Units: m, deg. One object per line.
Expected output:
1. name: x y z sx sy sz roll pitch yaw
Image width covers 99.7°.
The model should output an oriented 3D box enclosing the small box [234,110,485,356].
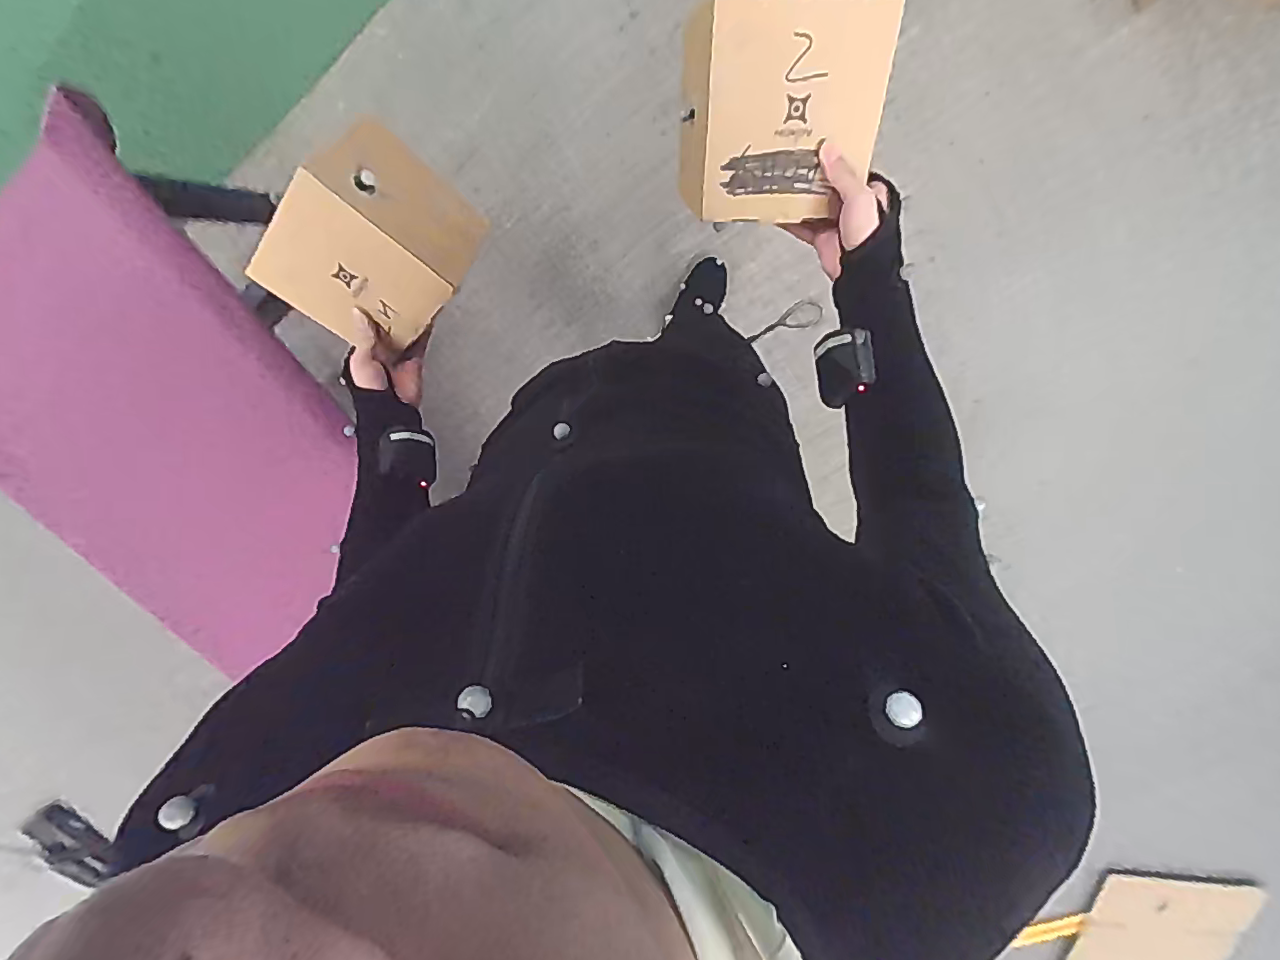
1. small box: -0.312 -0.289 0.630 0.168 0.176 0.179 -28 131 33
